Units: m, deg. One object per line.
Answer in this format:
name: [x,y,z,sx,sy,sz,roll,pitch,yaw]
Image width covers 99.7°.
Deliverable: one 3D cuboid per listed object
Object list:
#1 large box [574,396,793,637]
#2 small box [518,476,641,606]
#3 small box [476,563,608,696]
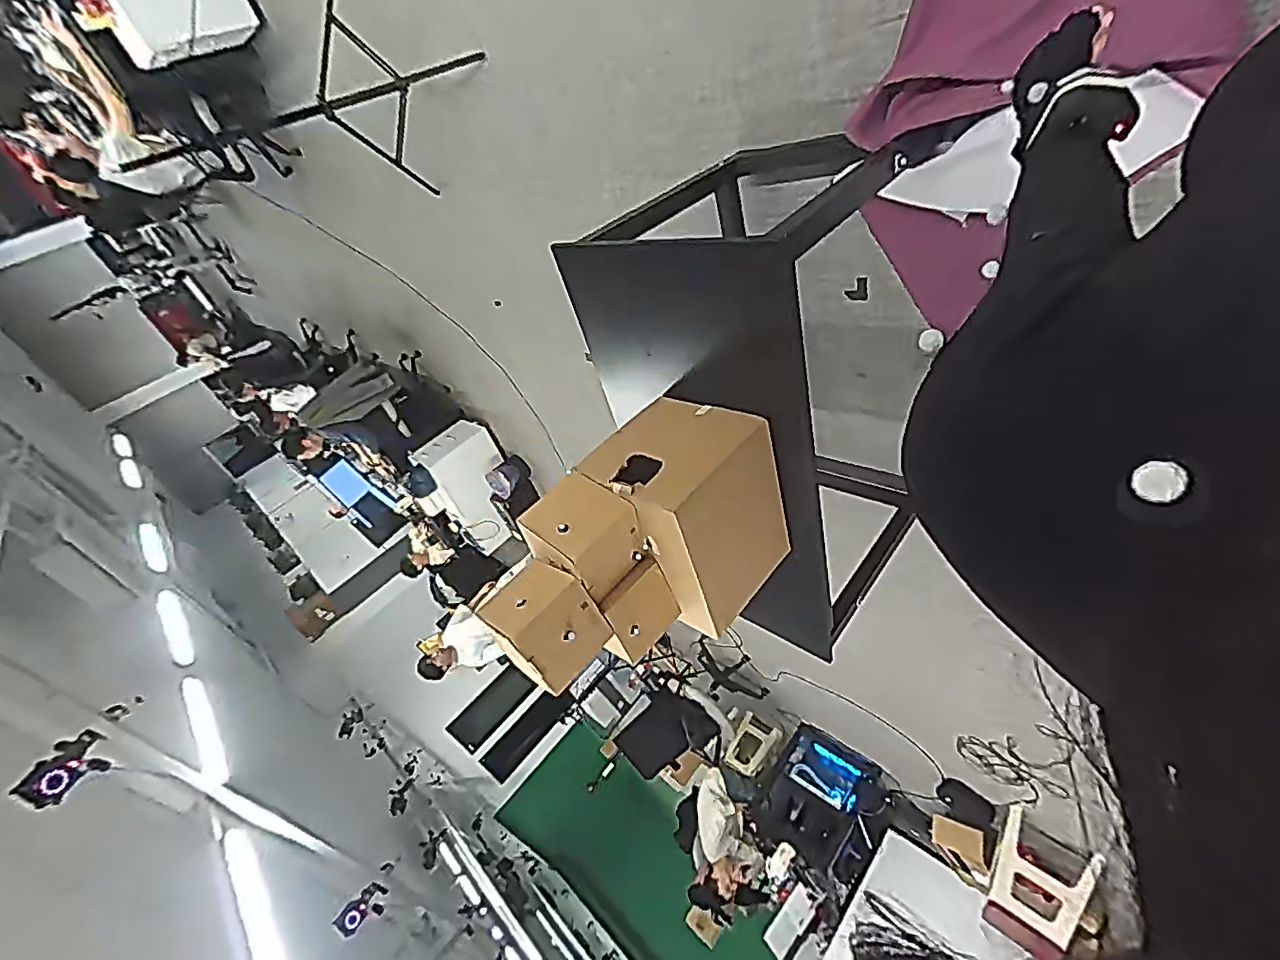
large box: [0.117,0.071,1.247,0.320,0.320,0.408,18,140,43]
small box: [-0.112,0.119,1.106,0.179,0.176,0.168,29,148,34]
small box: [-0.187,0.287,1.079,0.179,0.176,0.168,7,132,51]
